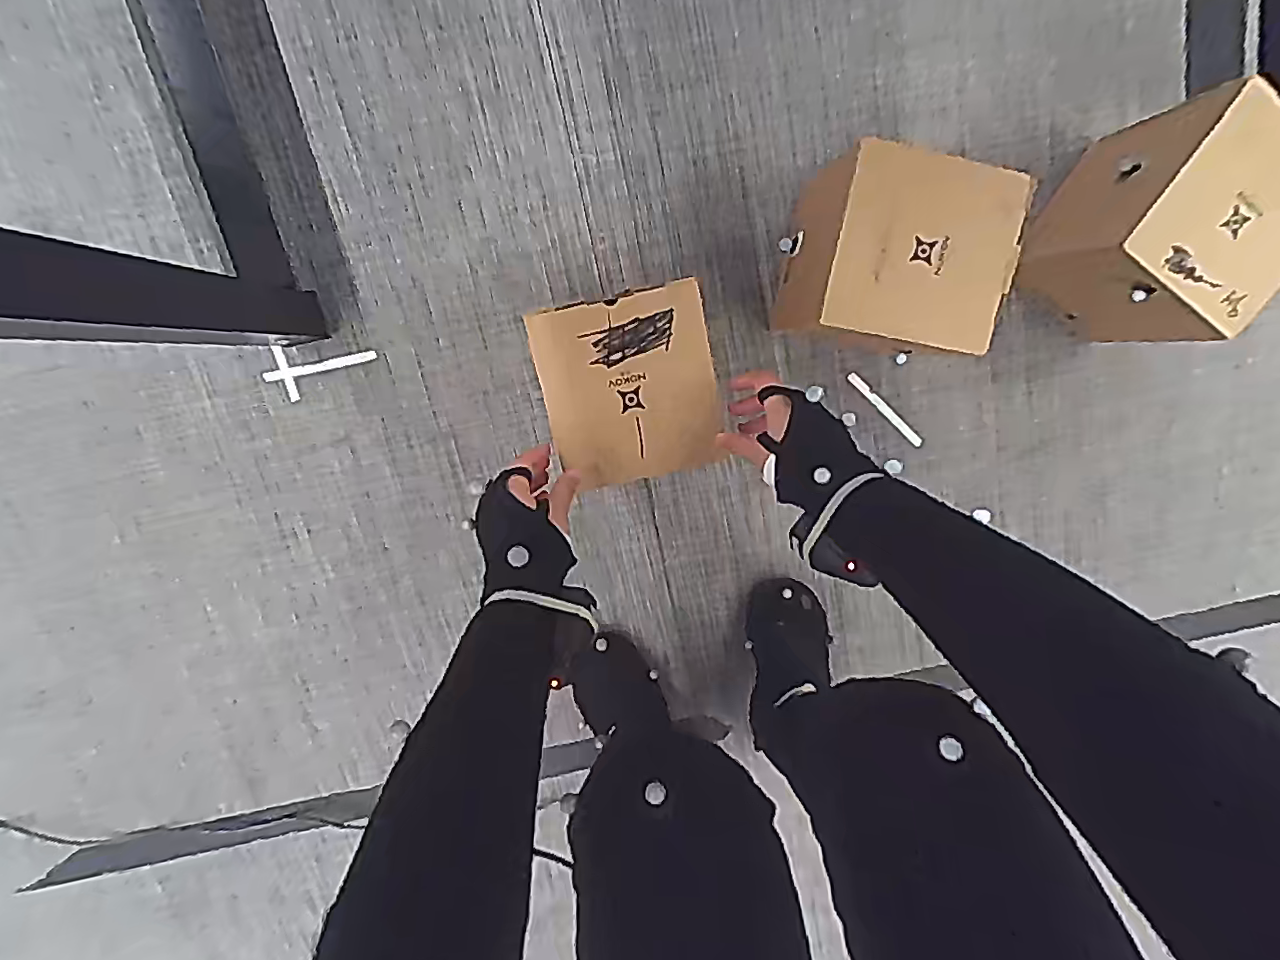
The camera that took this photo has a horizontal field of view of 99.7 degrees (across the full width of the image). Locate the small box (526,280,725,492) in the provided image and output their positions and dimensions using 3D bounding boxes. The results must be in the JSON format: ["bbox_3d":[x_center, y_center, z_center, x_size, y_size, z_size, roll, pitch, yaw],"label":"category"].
[{"bbox_3d":[-0.017,-0.104,0.593,0.168,0.176,0.179,-13,105,-1],"label":"small box"}]

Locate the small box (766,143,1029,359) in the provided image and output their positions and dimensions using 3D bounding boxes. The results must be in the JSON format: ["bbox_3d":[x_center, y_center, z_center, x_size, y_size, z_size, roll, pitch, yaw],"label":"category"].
[{"bbox_3d":[0.257,-0.229,0.585,0.179,0.176,0.168,9,102,-5],"label":"small box"}]

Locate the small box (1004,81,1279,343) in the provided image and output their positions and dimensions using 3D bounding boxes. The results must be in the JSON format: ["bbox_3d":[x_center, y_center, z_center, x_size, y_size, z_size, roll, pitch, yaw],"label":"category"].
[{"bbox_3d":[0.558,-0.269,0.593,0.168,0.176,0.179,31,99,-10],"label":"small box"}]
